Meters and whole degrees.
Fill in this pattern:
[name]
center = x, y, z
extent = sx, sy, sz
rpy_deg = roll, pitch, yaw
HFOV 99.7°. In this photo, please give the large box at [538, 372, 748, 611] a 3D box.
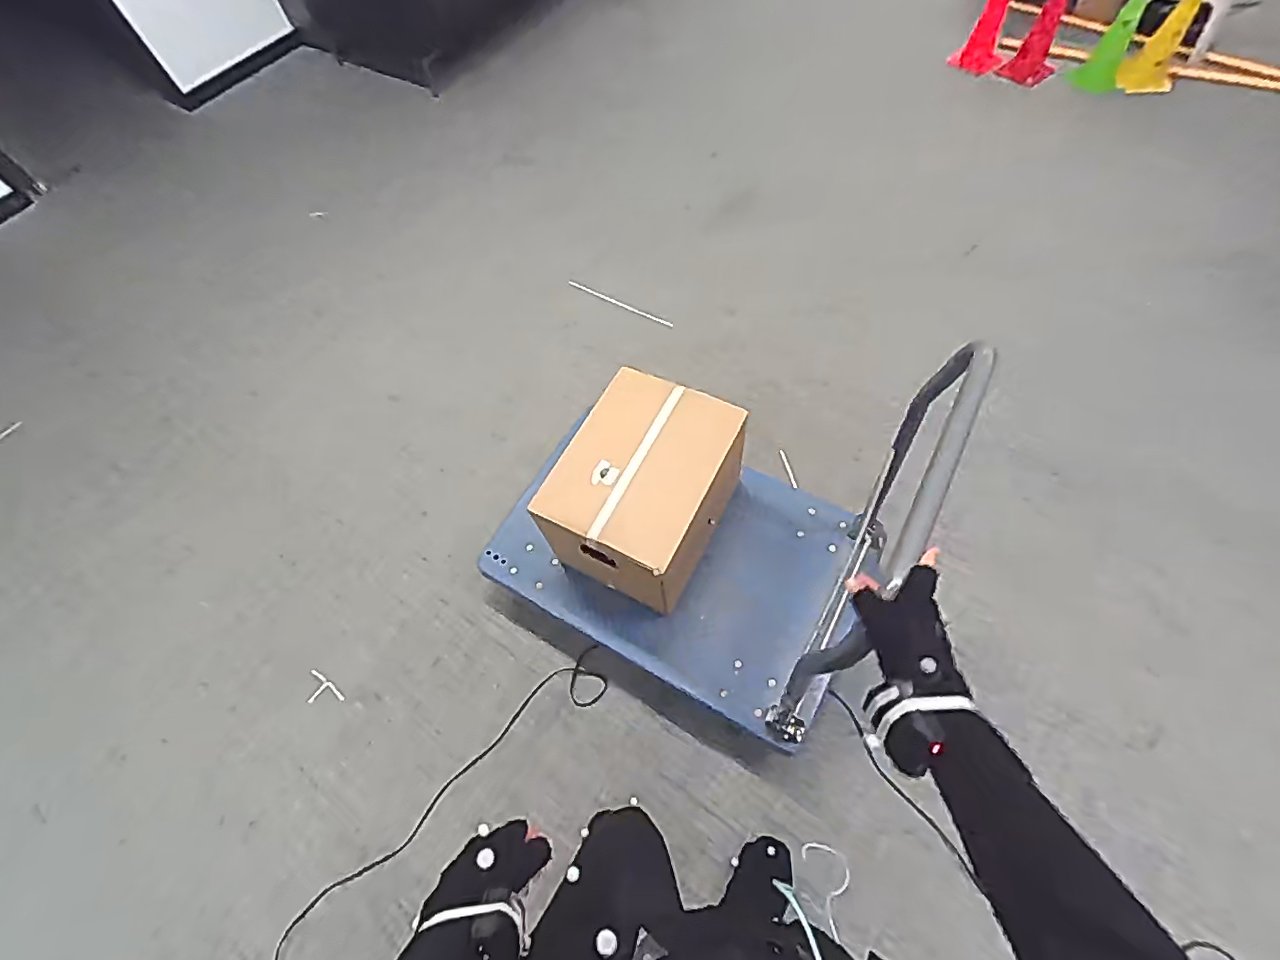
[large box]
center = 0.025, 0.031, 1.258
extent = 0.320, 0.320, 0.408
rpy_deg = 22, 67, 17
